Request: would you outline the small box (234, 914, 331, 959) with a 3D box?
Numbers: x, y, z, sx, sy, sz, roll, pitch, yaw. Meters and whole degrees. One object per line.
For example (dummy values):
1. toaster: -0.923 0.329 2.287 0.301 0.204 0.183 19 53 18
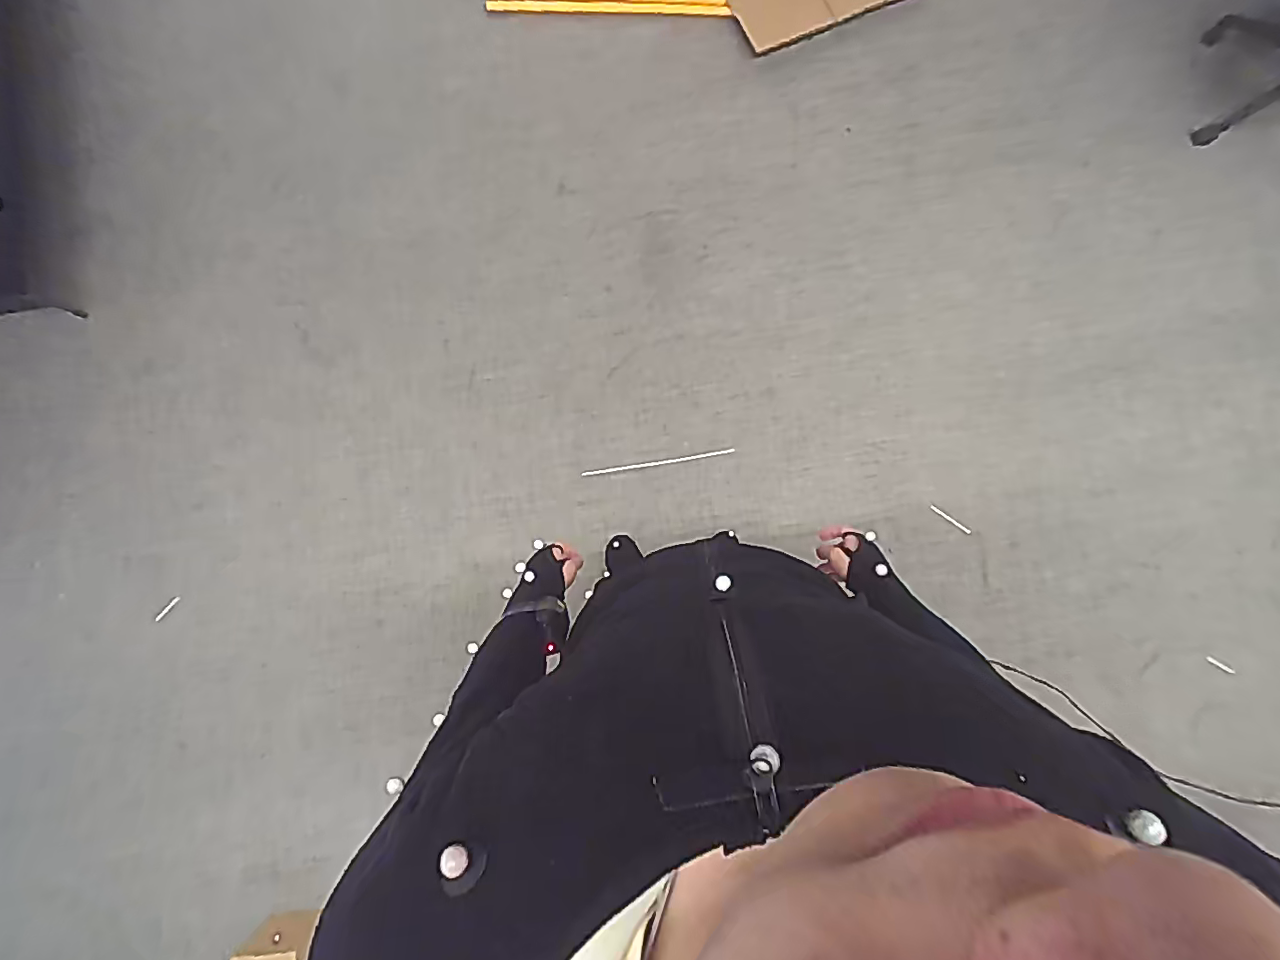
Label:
1. small box: -0.947 1.299 1.437 0.179 0.176 0.168 -5 83 0
